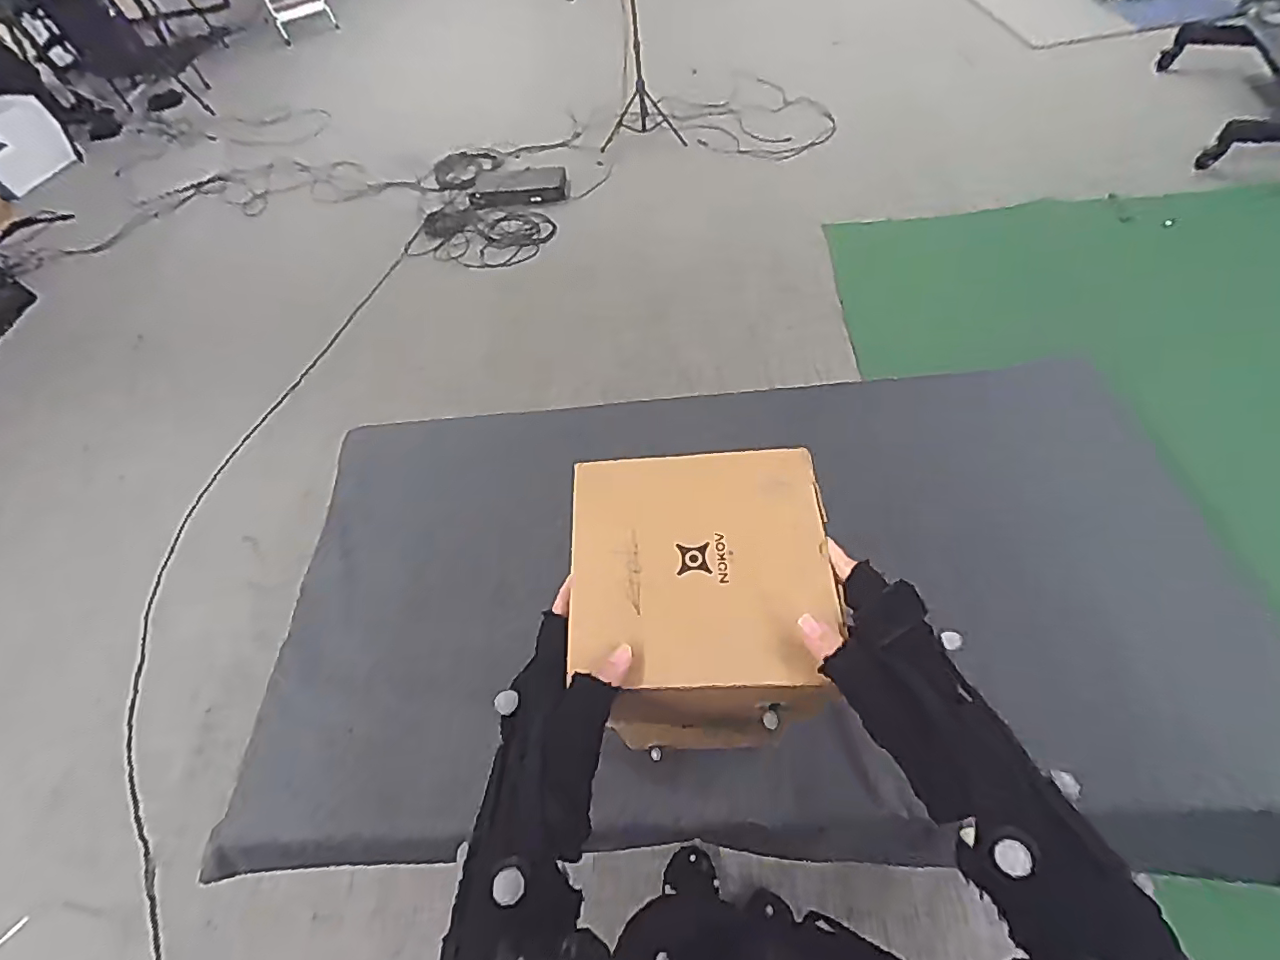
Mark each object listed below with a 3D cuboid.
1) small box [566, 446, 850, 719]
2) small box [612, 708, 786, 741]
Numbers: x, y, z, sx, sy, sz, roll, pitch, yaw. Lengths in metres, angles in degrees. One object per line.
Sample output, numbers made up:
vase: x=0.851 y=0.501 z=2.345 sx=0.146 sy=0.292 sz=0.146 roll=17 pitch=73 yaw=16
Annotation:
small box: x=0.046 y=0.091 z=0.437 sx=0.179 sy=0.176 sz=0.168 roll=-5 pitch=58 yaw=4
small box: x=0.060 y=0.184 z=0.601 sx=0.168 sy=0.176 sz=0.179 roll=-7 pitch=56 yaw=3
